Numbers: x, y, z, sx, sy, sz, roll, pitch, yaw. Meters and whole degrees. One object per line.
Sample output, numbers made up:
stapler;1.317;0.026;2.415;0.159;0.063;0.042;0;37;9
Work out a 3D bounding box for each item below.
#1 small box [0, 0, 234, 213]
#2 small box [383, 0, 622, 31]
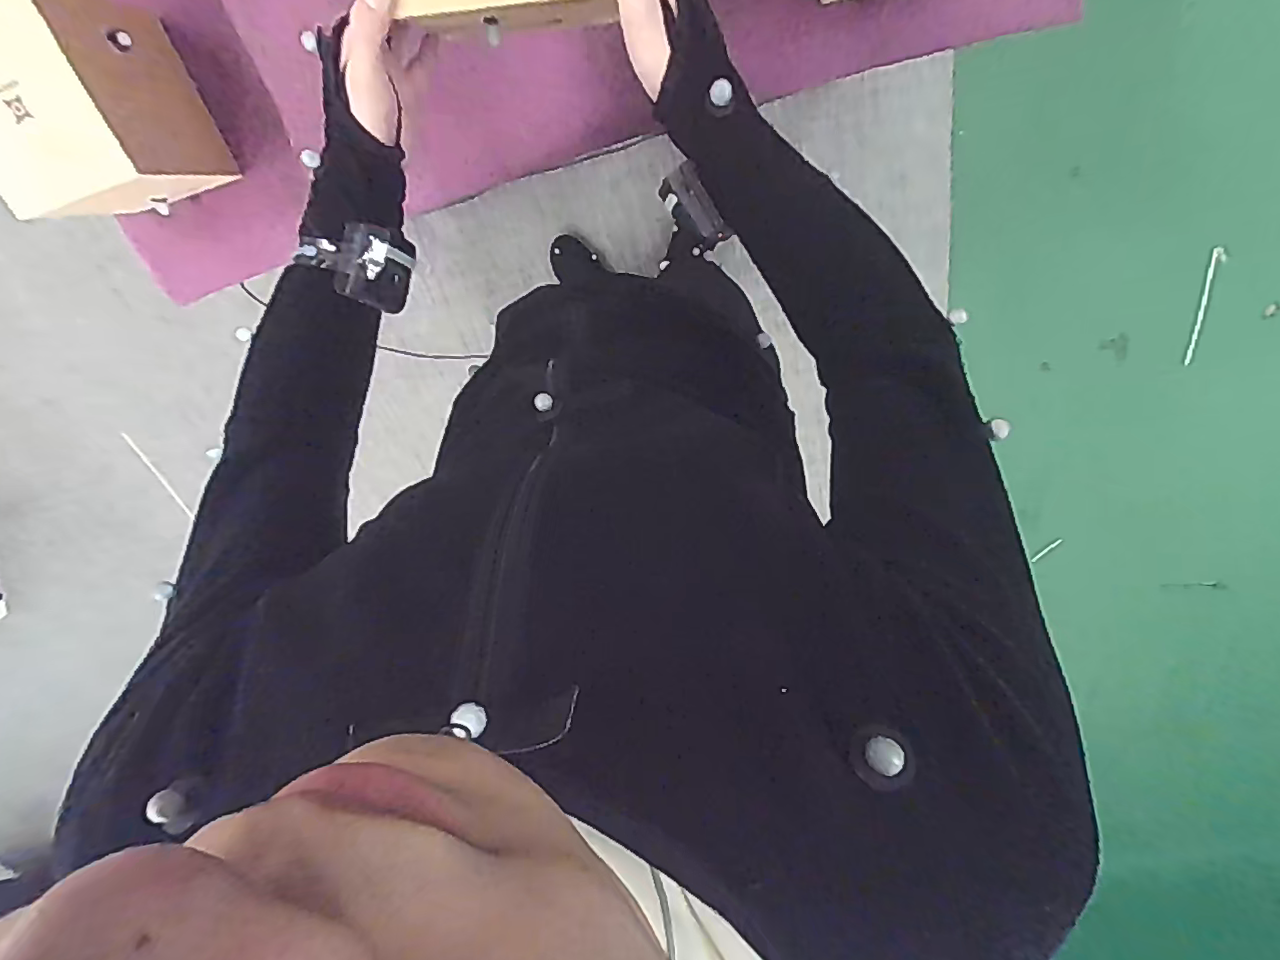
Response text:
small box;-0.627;-0.419;0.611;0.168;0.176;0.179;-12;118;9
small box;-0.101;-0.439;0.382;0.168;0.176;0.179;-5;125;2
